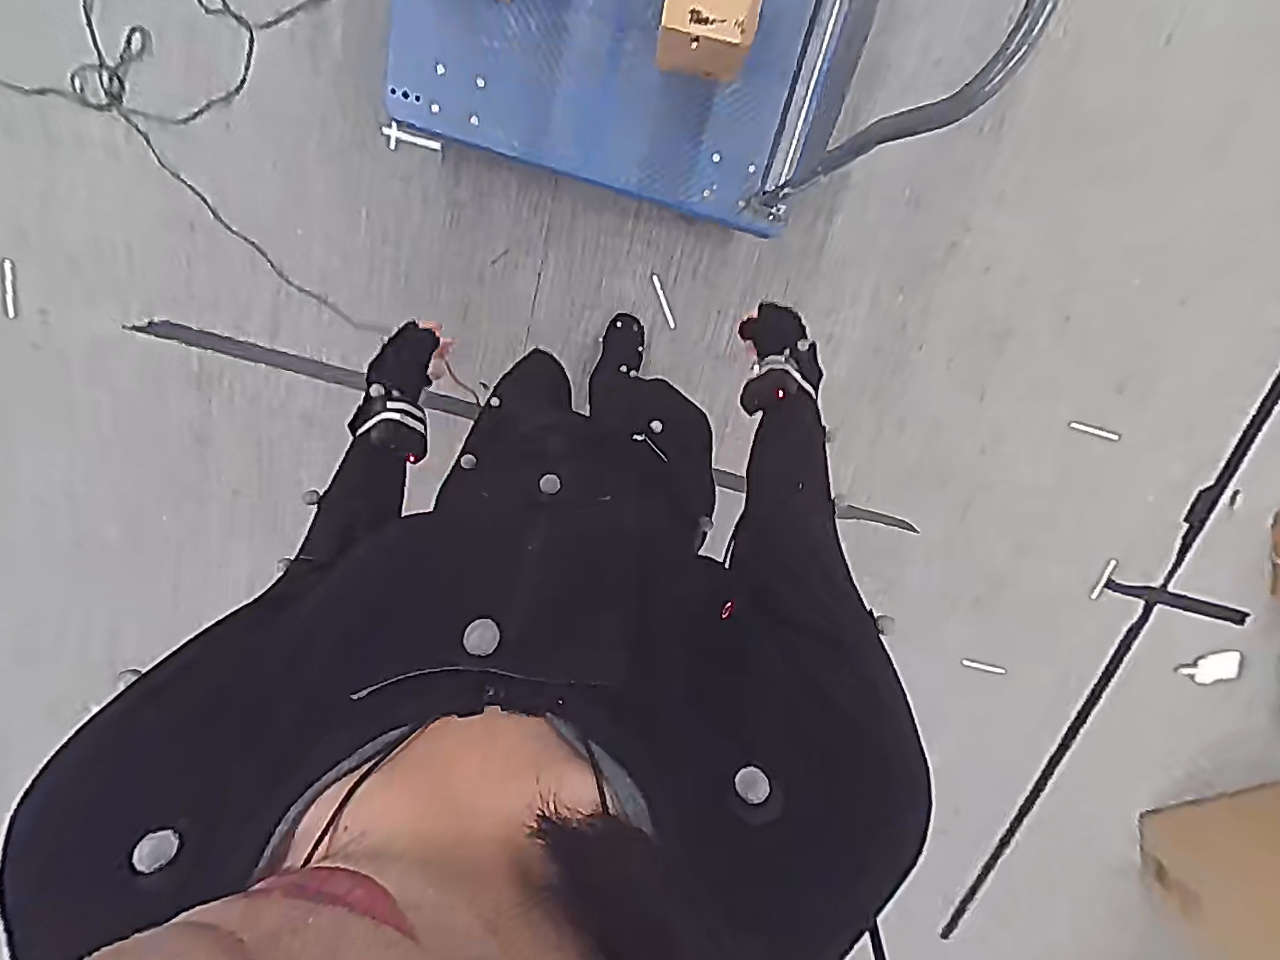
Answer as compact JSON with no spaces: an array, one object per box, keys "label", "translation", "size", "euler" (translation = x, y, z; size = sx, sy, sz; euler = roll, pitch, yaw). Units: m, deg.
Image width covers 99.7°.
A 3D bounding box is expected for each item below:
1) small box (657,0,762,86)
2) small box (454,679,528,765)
[{"label":"small box","translation":[0.129,-0.871,0.990],"size":[0.168,0.176,0.179],"euler":[11,106,-5]},{"label":"small box","translation":[-0.460,0.749,1.688],"size":[0.179,0.176,0.168],"euler":[13,108,-7]}]
